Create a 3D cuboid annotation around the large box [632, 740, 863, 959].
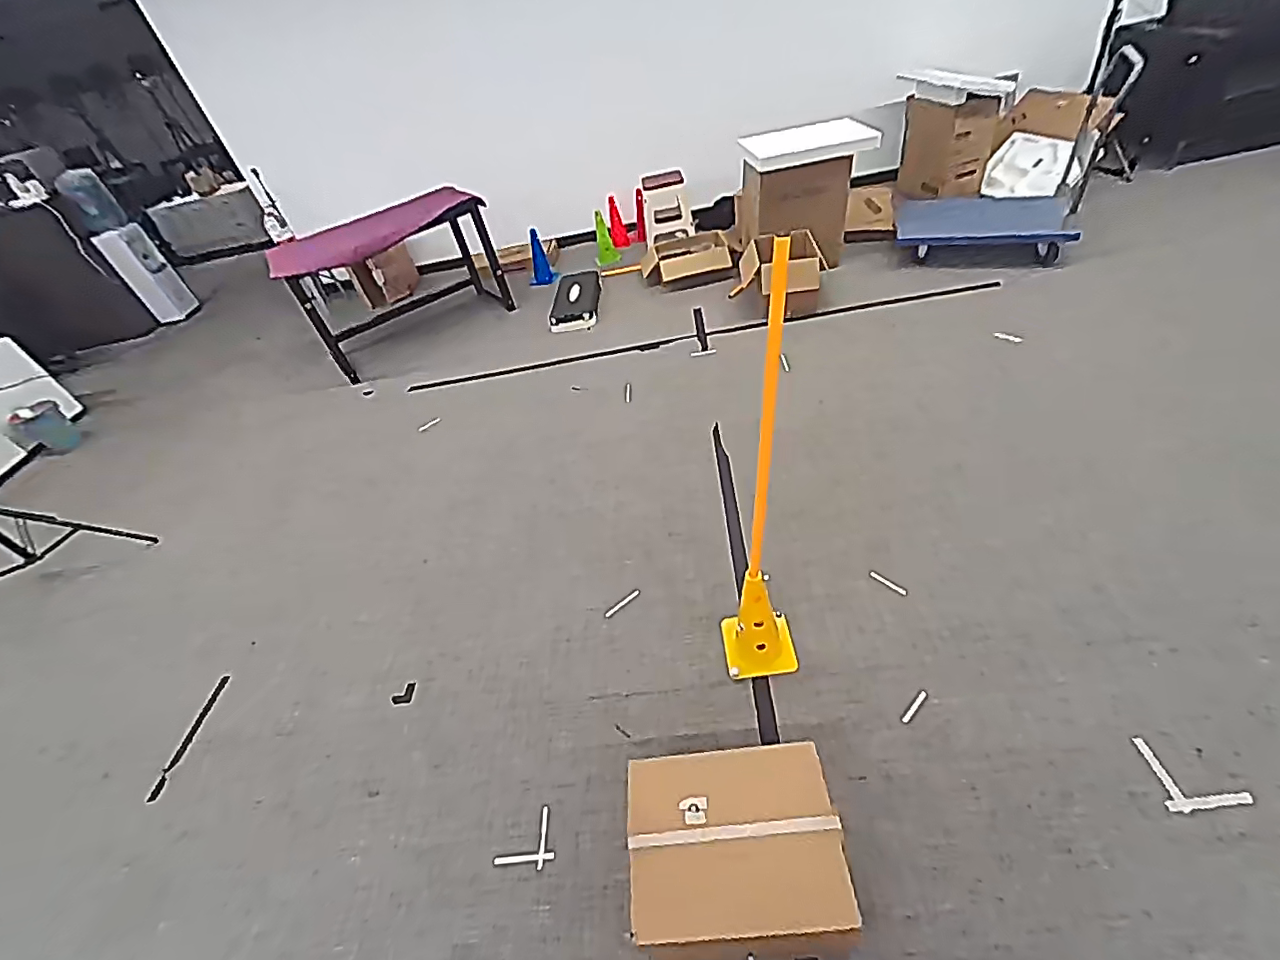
[{"bbox_3d":[0.215,0.795,1.153,0.408,0.320,0.320,-10,41,7],"label":"large box"}]
